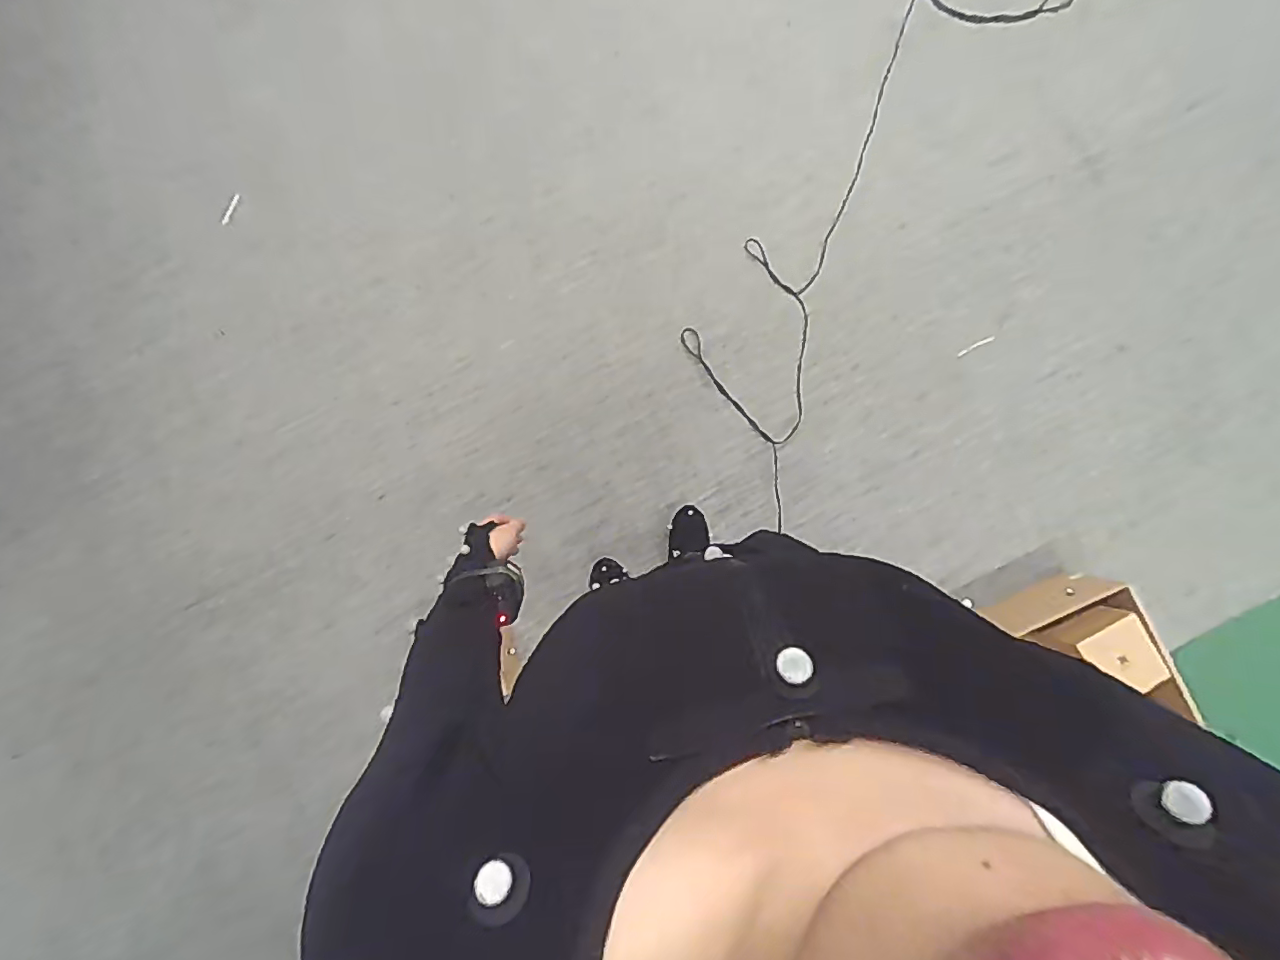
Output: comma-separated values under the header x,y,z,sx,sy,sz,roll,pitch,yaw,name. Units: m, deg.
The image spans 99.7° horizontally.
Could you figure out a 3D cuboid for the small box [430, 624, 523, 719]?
x,y,z,sx,sy,sz,roll,pitch,yaw,name
-0.411,0.485,1.397,0.179,0.176,0.168,-15,87,-1,small box
